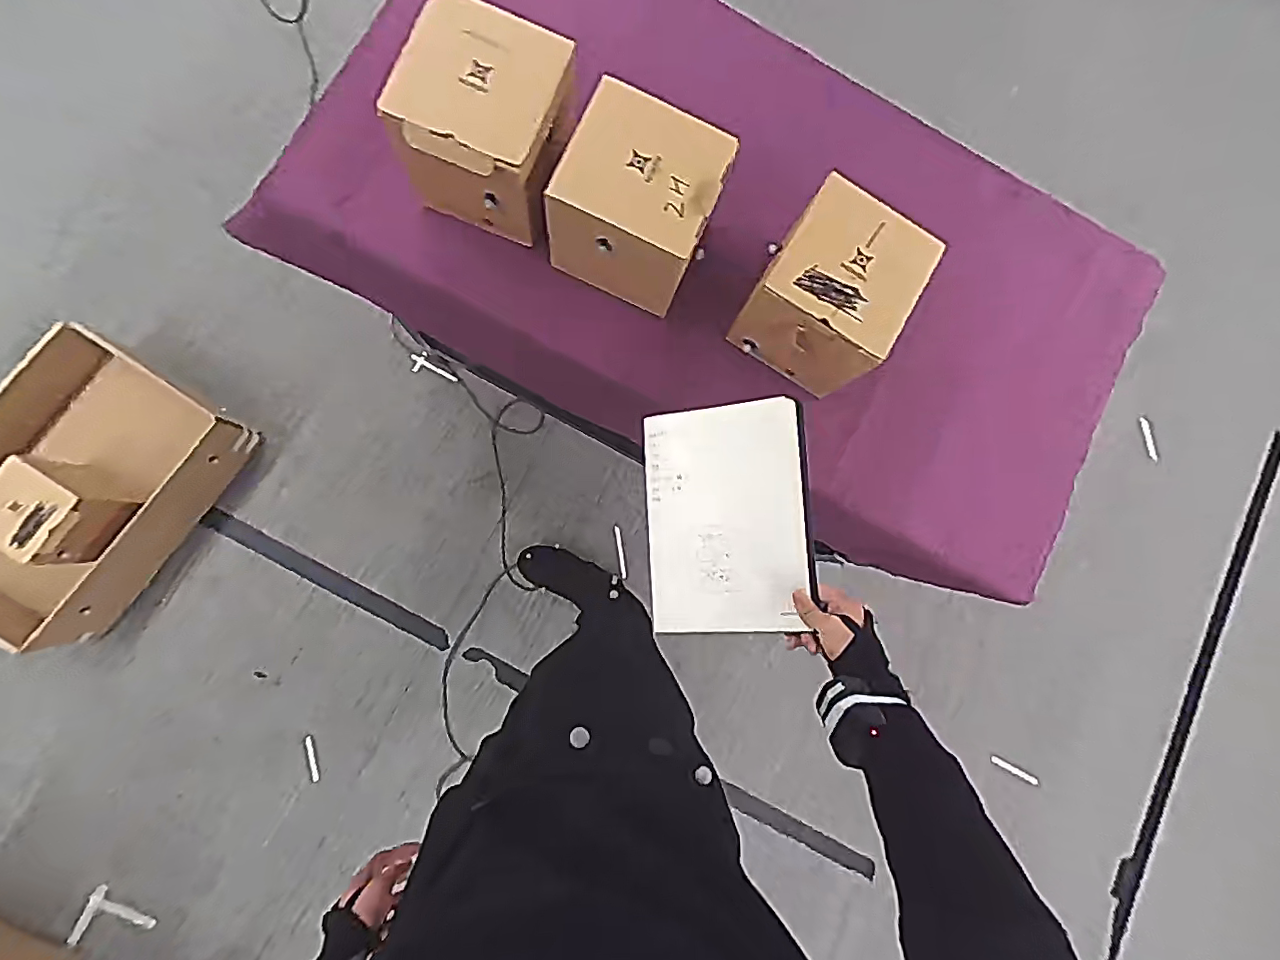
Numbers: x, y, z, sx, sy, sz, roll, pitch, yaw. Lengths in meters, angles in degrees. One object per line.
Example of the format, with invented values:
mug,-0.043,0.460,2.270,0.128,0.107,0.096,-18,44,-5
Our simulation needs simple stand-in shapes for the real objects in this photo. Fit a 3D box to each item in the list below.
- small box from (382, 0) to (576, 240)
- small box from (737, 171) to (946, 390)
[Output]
small box,-0.185,-0.440,0.680,0.168,0.176,0.179,21,82,-5
small box,0.245,-0.243,0.706,0.168,0.176,0.179,32,81,-2
